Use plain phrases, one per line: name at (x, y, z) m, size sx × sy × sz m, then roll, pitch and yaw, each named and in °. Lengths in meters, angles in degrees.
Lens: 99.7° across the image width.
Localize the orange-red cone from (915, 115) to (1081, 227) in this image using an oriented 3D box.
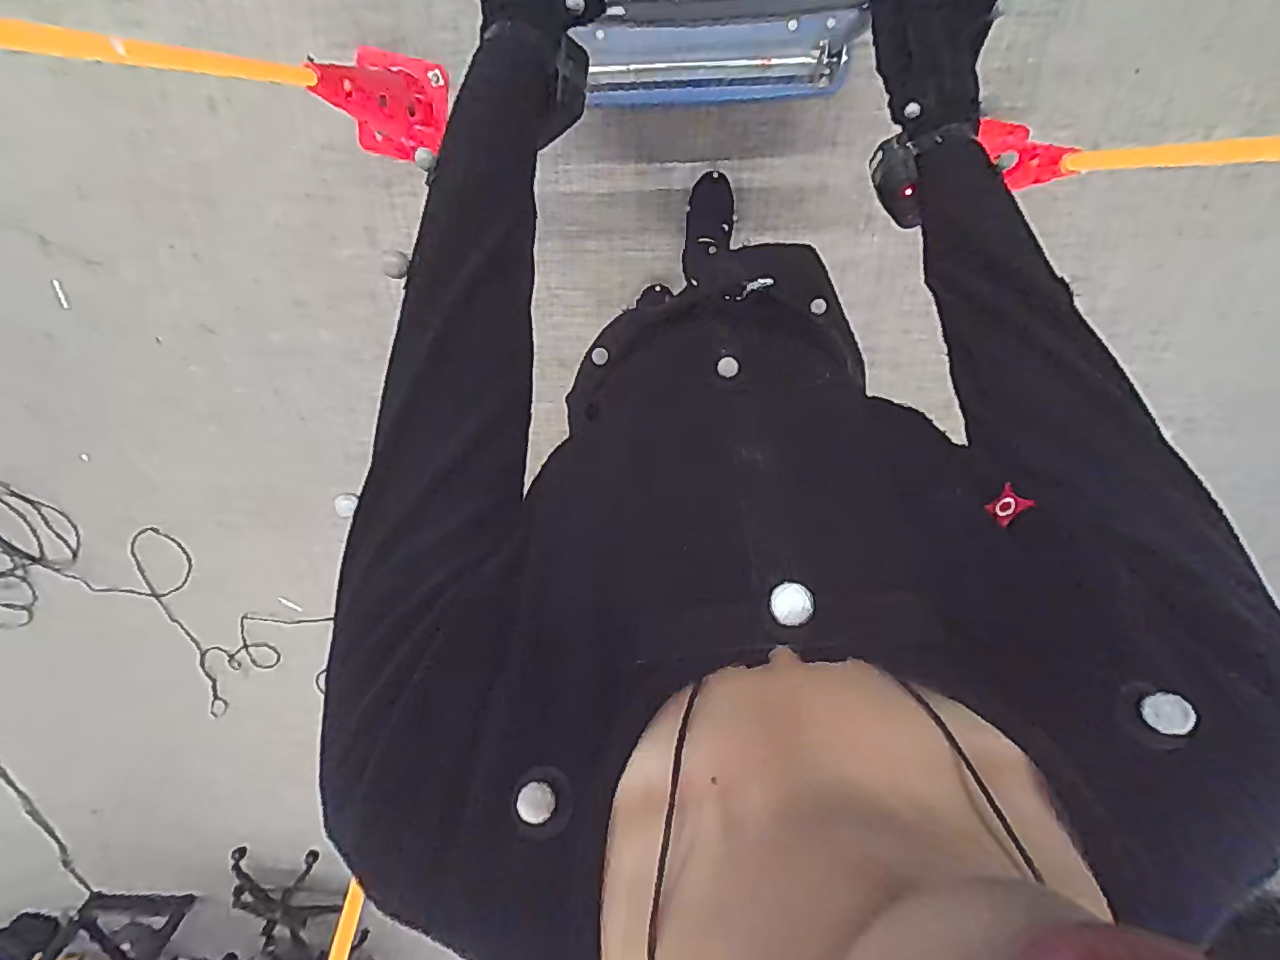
orange-red cone at (0.737, -0.612, 1.068) m, size 0.198 × 0.360 × 0.199 m, roll 11°, pitch 118°, yaw -2°
